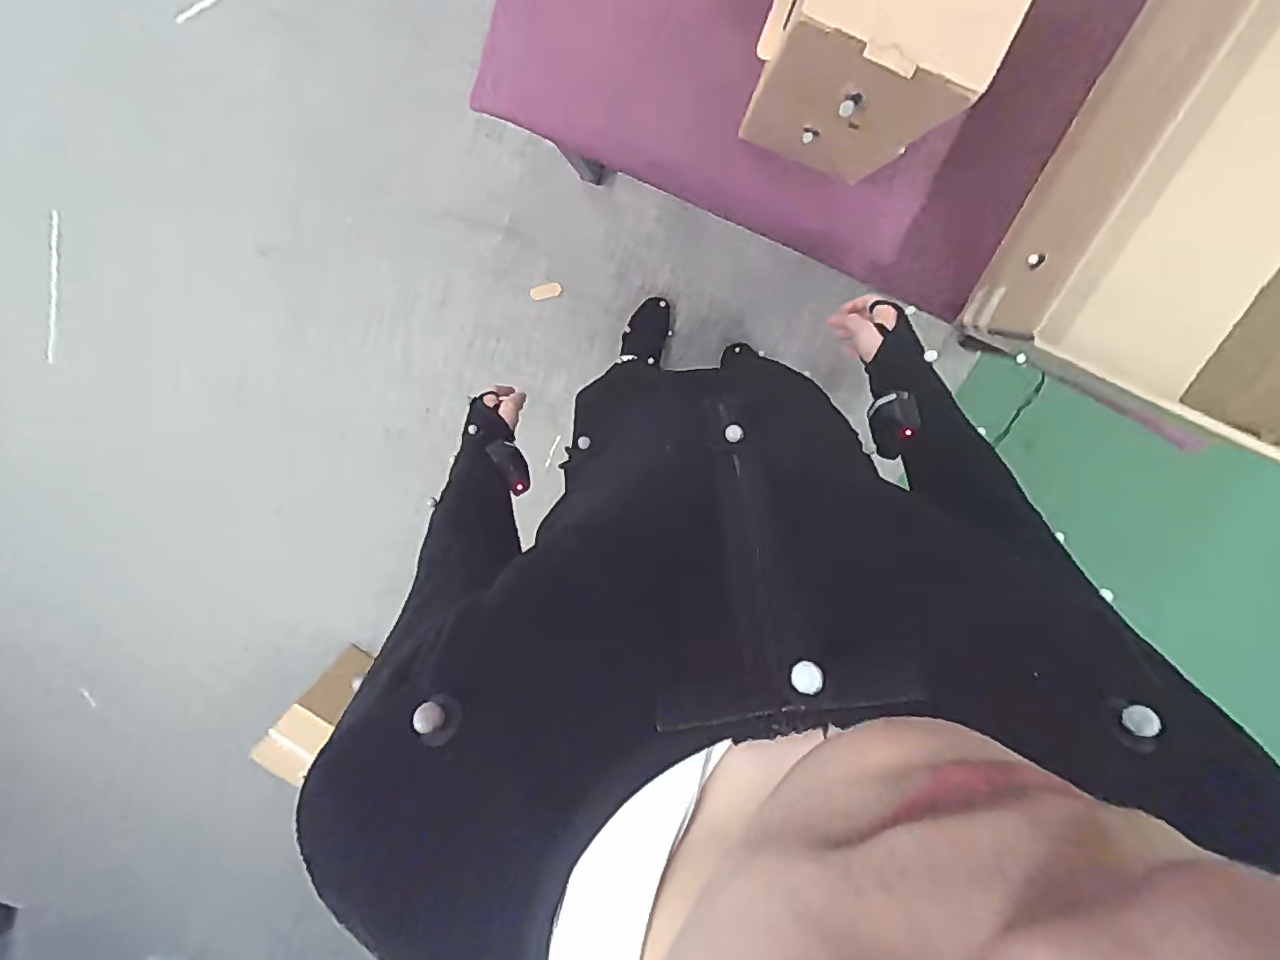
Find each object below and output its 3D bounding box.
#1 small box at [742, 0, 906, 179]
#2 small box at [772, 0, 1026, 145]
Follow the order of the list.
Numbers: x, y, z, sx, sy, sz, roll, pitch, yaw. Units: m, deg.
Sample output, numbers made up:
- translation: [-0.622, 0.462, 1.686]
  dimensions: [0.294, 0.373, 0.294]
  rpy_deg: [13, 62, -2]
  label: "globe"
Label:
- translation: [0.237, -0.486, 0.645]
  dimensions: [0.179, 0.176, 0.168]
  rpy_deg: [20, 108, -5]
  label: "small box"
- translation: [0.233, -0.439, 0.487]
  dimensions: [0.168, 0.176, 0.179]
  rpy_deg: [21, 108, -5]
  label: "small box"
